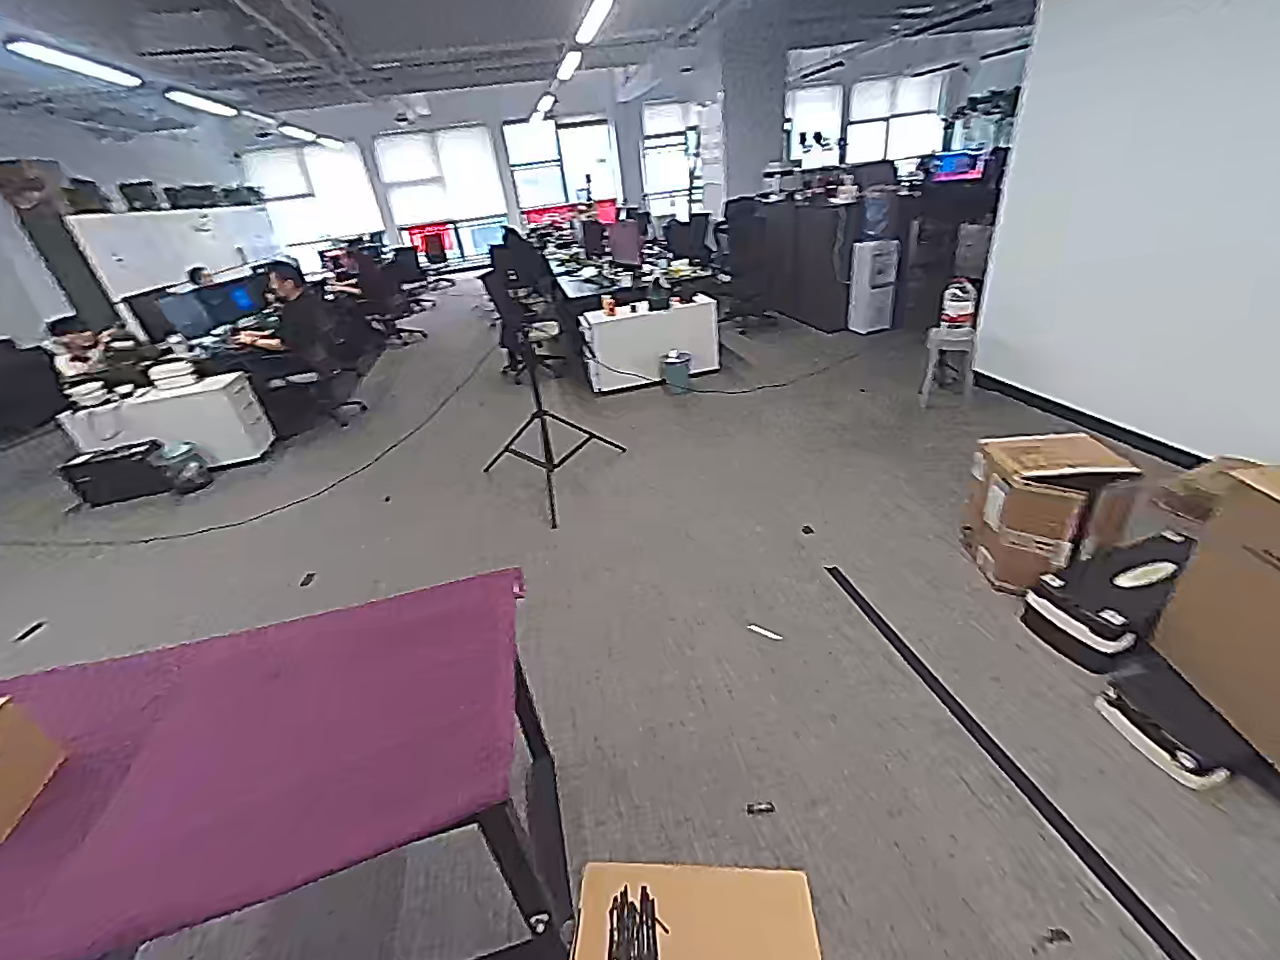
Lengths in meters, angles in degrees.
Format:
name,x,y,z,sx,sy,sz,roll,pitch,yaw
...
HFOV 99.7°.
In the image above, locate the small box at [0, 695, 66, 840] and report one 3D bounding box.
name,x,y,z,sx,sy,sz,roll,pitch,yaw
small box,-1.140,0.501,0.899,0.168,0.176,0.179,-12,30,-9
